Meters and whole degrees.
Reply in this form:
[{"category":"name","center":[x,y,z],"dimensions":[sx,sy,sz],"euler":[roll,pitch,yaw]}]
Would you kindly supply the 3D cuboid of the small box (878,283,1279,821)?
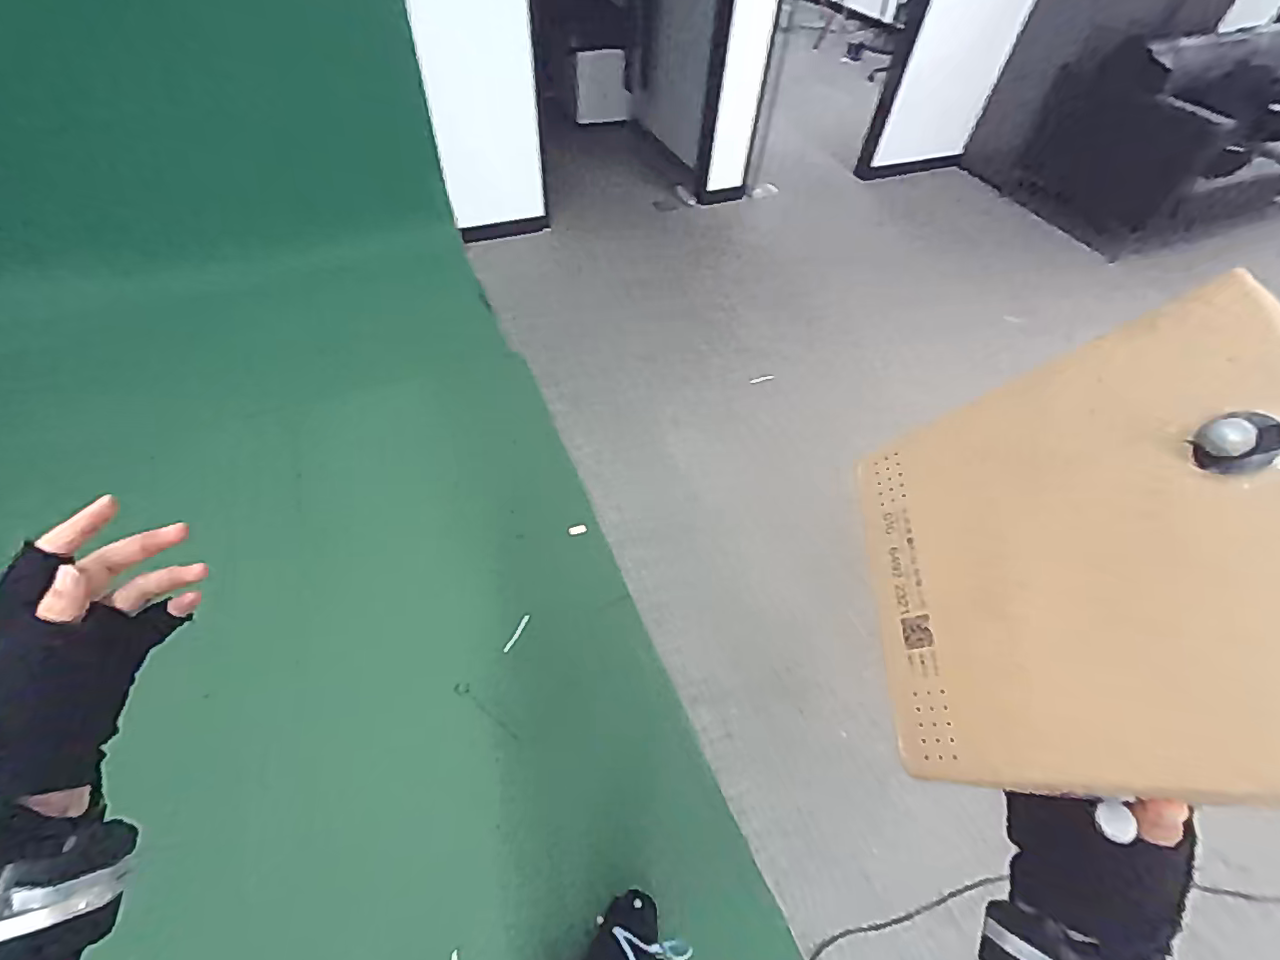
[{"category":"small box","center":[0.241,0.056,0.247],"dimensions":[0.179,0.176,0.168],"euler":[20,58,-25]}]
